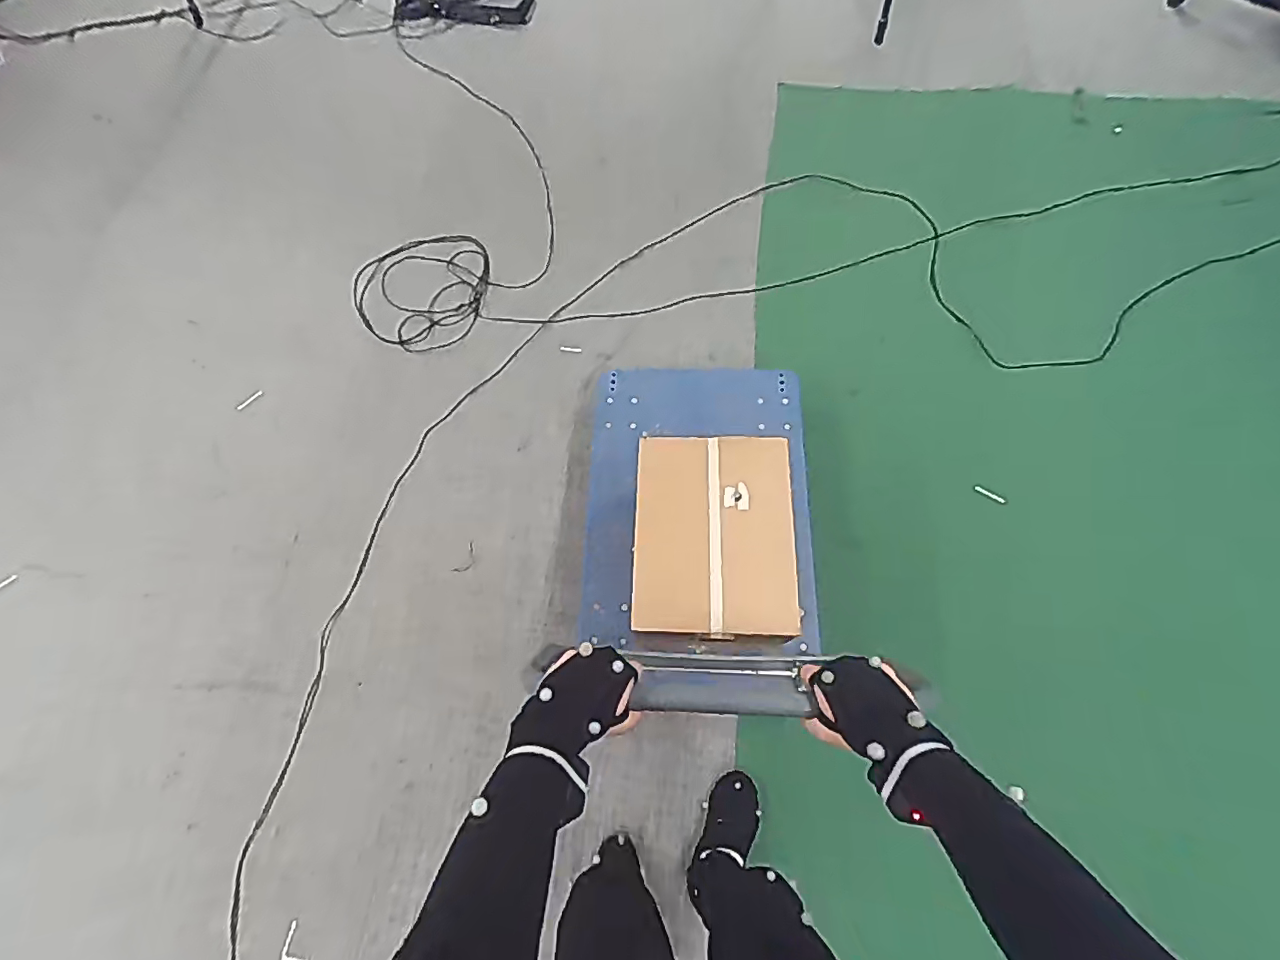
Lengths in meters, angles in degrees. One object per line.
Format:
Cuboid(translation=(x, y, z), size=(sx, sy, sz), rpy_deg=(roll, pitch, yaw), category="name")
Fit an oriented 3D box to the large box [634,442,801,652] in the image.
Cuboid(translation=(0.156, 0.163, 1.208), size=(0.320, 0.320, 0.408), rpy_deg=(1, 66, 3), category="large box")
